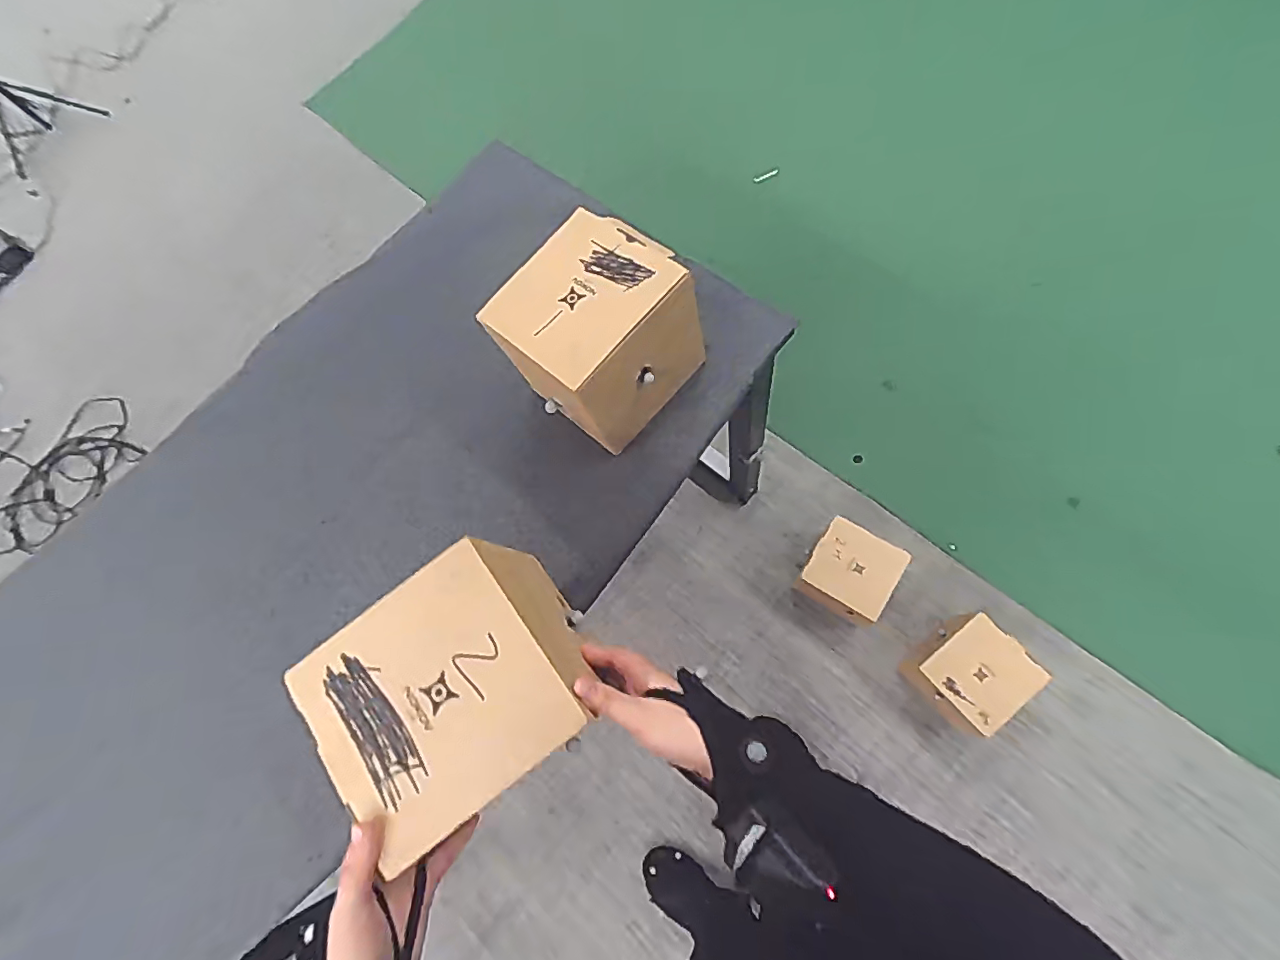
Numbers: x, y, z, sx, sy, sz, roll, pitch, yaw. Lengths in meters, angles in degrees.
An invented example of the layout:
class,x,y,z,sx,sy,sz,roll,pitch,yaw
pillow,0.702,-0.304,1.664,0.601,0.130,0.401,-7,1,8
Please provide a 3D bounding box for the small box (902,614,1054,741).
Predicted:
class,x,y,z,sx,sy,sz,roll,pitch,yaw
small box,0.680,0.398,1.113,0.179,0.176,0.168,-39,71,-4

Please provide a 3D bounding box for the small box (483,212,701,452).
class,x,y,z,sx,sy,sz,roll,pitch,yaw
small box,-0.042,-0.166,0.641,0.168,0.176,0.179,40,84,23

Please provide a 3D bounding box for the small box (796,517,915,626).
class,x,y,z,sx,sy,sz,roll,pitch,yaw
small box,0.473,0.210,1.211,0.179,0.176,0.168,31,79,18
